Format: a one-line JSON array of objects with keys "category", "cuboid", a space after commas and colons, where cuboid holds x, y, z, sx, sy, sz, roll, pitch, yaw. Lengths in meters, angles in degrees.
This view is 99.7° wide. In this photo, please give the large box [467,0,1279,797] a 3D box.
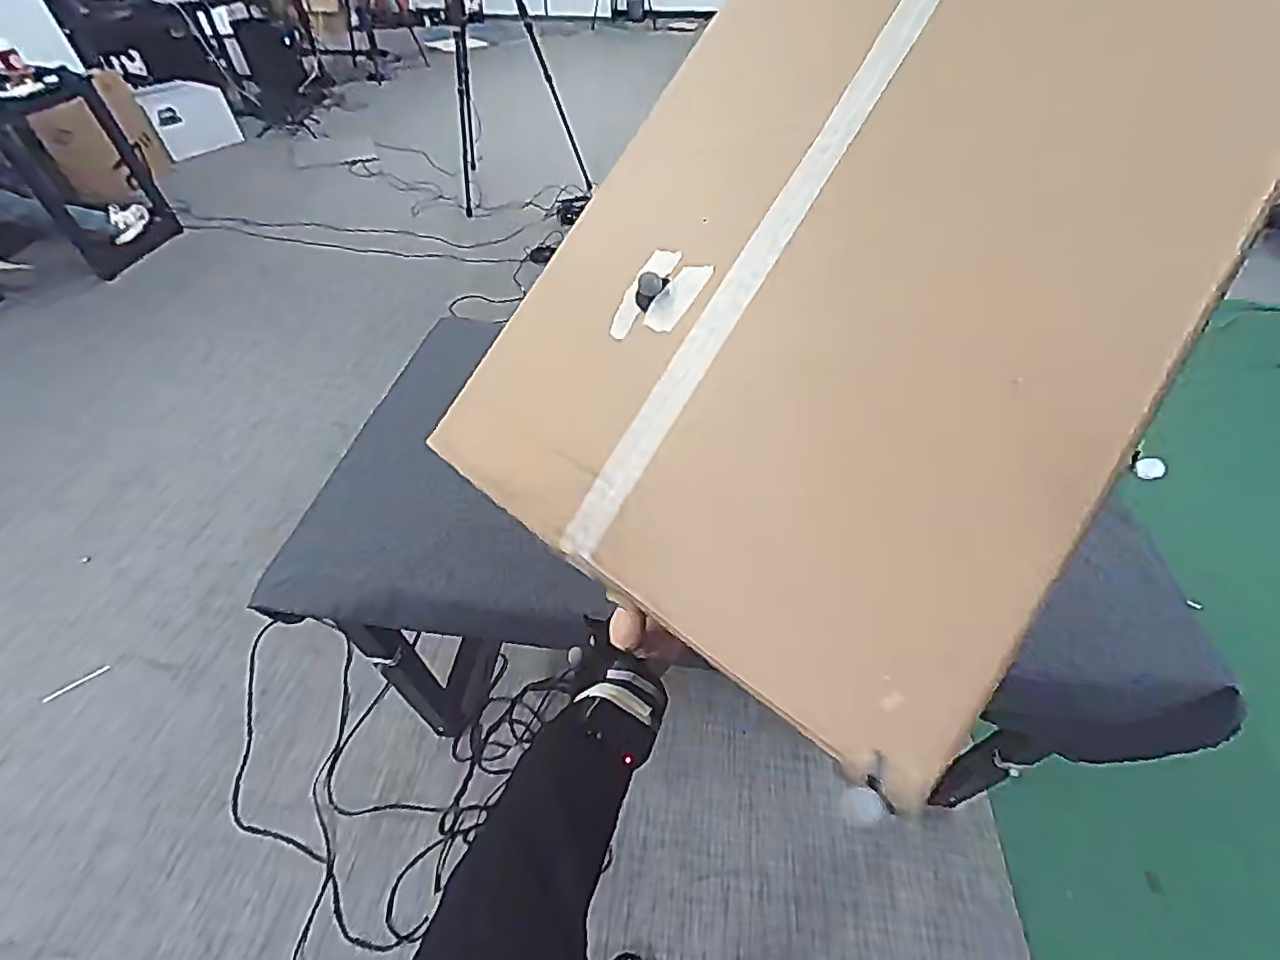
[{"category": "large box", "cuboid": [0.163, -0.071, 0.400, 0.320, 0.320, 0.408, 28, 86, 37]}]
